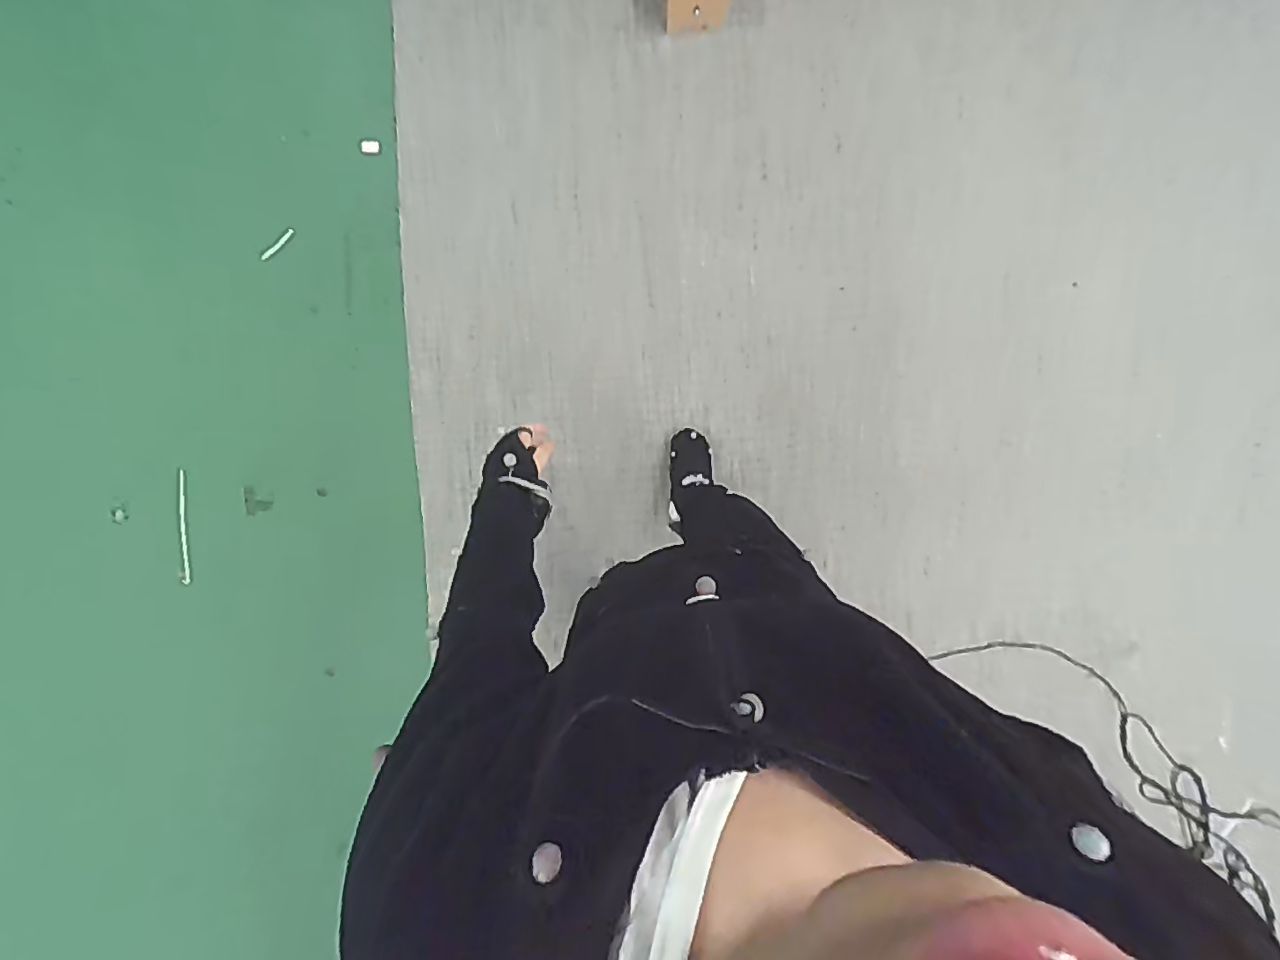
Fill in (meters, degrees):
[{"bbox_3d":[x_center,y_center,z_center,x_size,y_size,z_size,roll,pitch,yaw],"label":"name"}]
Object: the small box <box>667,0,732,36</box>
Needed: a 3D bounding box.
[{"bbox_3d":[0.158,-1.325,1.435,0.168,0.176,0.179,-3,90,0],"label":"small box"}]
